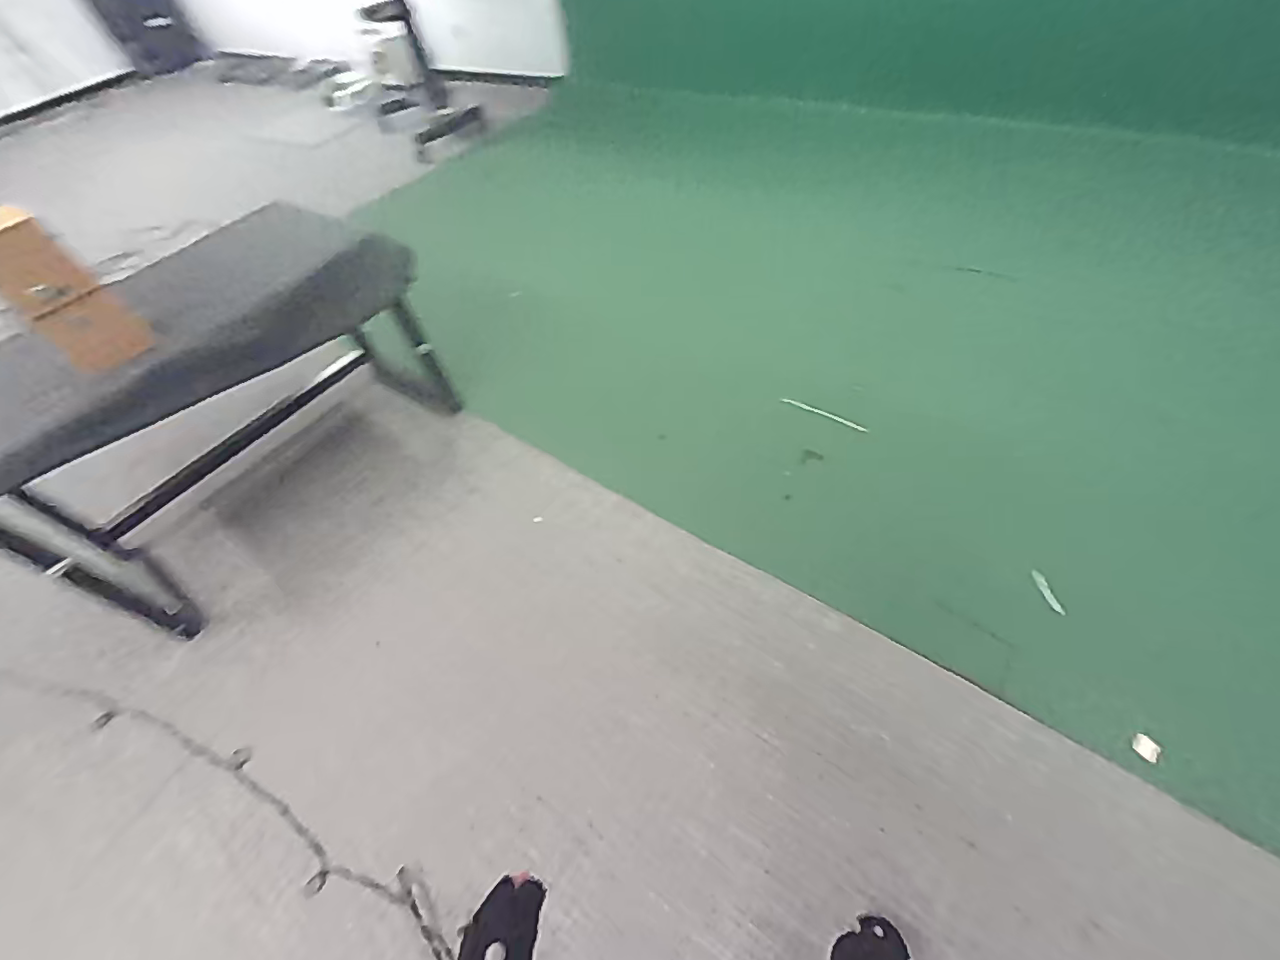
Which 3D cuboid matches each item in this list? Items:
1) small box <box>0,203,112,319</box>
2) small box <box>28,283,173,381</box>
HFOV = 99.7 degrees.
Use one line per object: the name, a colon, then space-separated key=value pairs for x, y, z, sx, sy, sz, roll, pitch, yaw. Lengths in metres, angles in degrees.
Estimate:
small box: x=-1.356 y=-0.486 z=1.207 sx=0.179 sy=0.176 sz=0.168 roll=28 pitch=63 yaw=27
small box: x=-1.332 y=-0.375 z=1.344 sx=0.168 sy=0.176 sz=0.179 roll=29 pitch=61 yaw=28
